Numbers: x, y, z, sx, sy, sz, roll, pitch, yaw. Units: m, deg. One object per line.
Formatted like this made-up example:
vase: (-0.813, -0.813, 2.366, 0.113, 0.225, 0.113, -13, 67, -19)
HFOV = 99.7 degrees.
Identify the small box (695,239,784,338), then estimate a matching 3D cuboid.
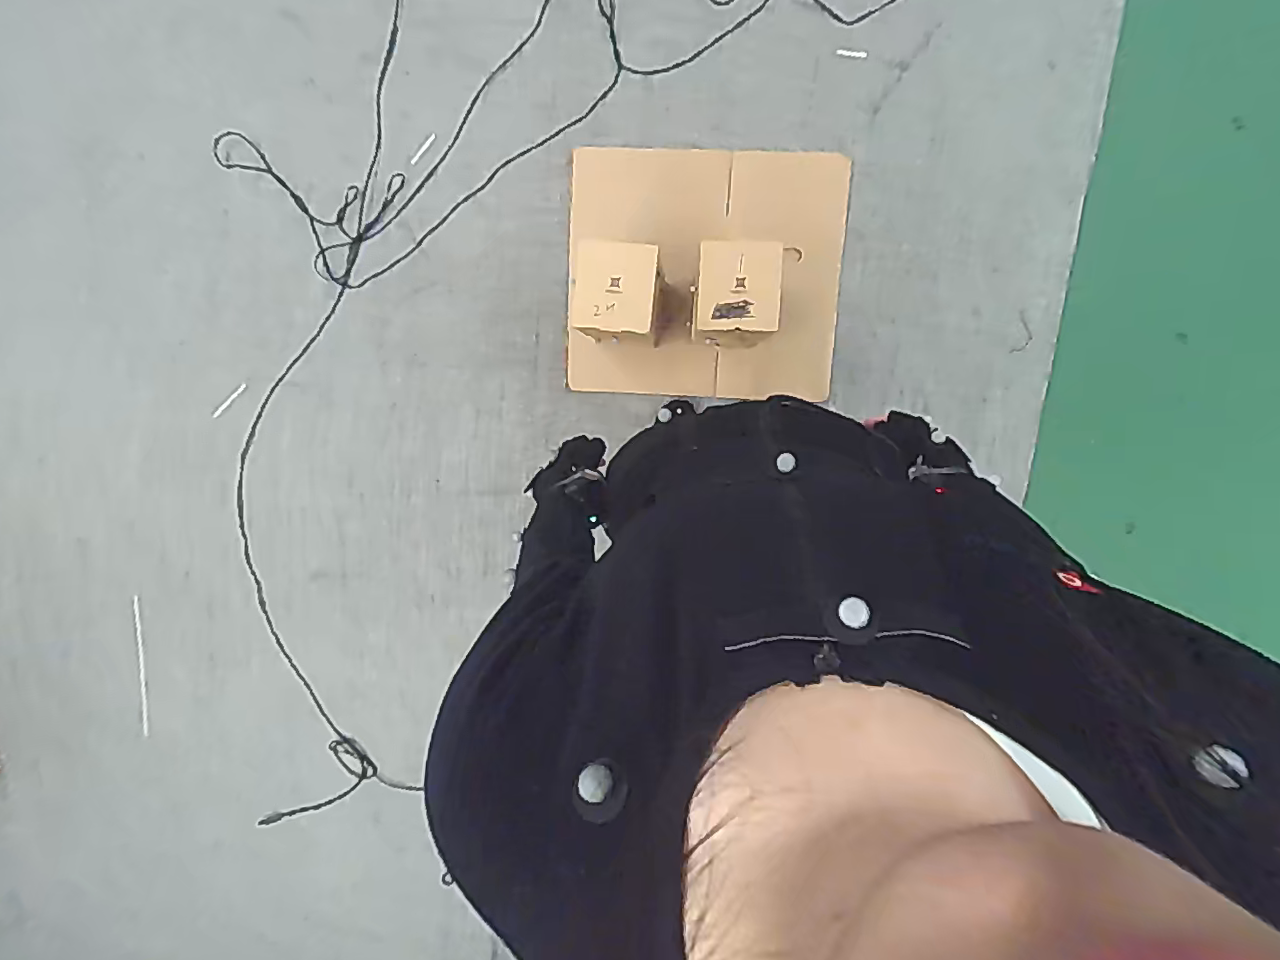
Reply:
small box: (0.206, -0.401, 1.158, 0.168, 0.176, 0.179, 2, 99, 3)

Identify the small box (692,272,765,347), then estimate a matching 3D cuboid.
small box: (0.215, -0.425, 1.321, 0.168, 0.176, 0.179, 2, 100, 3)

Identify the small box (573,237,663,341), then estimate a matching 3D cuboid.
small box: (-0.042, -0.406, 1.172, 0.168, 0.176, 0.179, 6, 100, 4)
